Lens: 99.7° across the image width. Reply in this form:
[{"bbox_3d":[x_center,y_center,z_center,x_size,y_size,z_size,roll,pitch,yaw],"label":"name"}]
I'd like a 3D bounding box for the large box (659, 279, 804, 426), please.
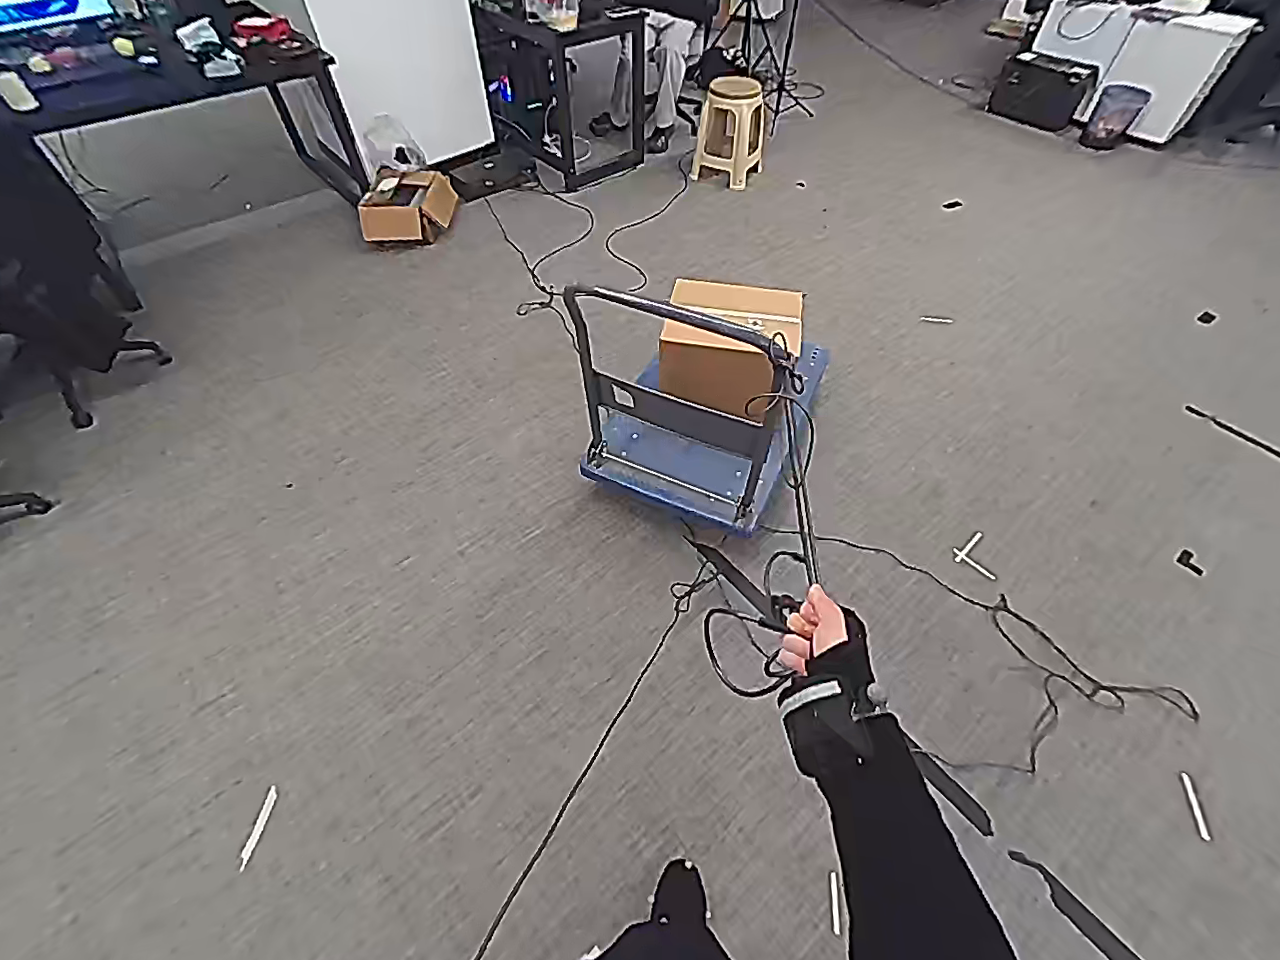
[{"bbox_3d":[0.284,-0.405,1.735,0.408,0.320,0.320,10,55,7],"label":"large box"}]
